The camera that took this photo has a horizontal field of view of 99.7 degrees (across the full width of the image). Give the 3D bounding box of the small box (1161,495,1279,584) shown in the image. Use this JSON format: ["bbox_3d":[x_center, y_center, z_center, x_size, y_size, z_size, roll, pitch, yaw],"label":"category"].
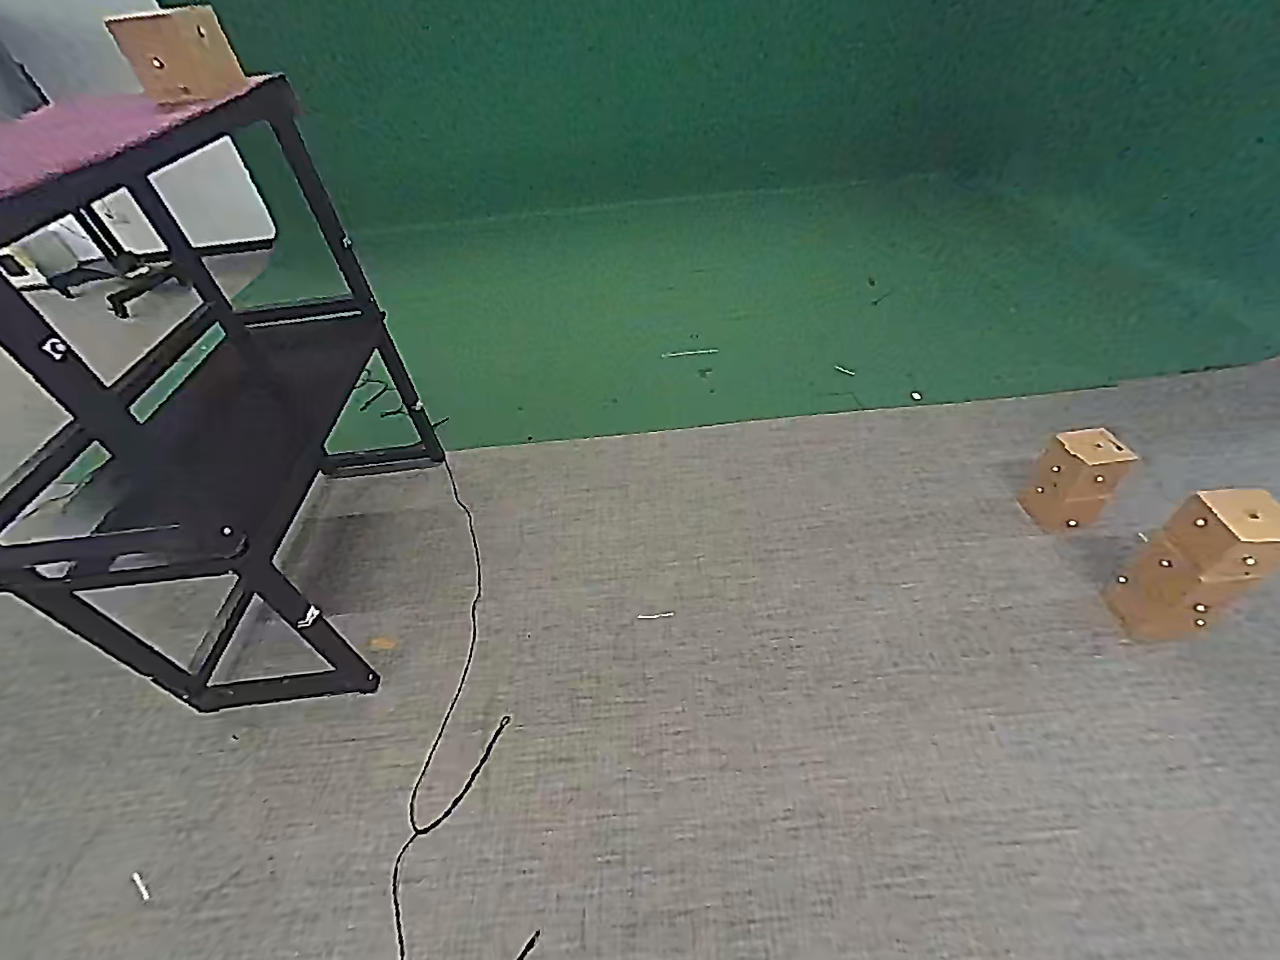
[{"bbox_3d":[1.558,0.161,1.428,0.168,0.176,0.179,-2,43,6],"label":"small box"}]

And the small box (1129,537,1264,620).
[{"bbox_3d":[1.569,0.276,1.542,0.168,0.176,0.179,-5,44,2],"label":"small box"}]

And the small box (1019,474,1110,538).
[{"bbox_3d":[1.542,0.090,1.980,0.168,0.176,0.179,-6,44,1],"label":"small box"}]

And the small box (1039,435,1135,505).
[{"bbox_3d":[1.529,-0.030,1.870,0.179,0.176,0.168,-9,44,-1],"label":"small box"}]

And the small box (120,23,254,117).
[{"bbox_3d":[-1.148,-1.050,1.390,0.168,0.176,0.179,-2,44,3],"label":"small box"}]
